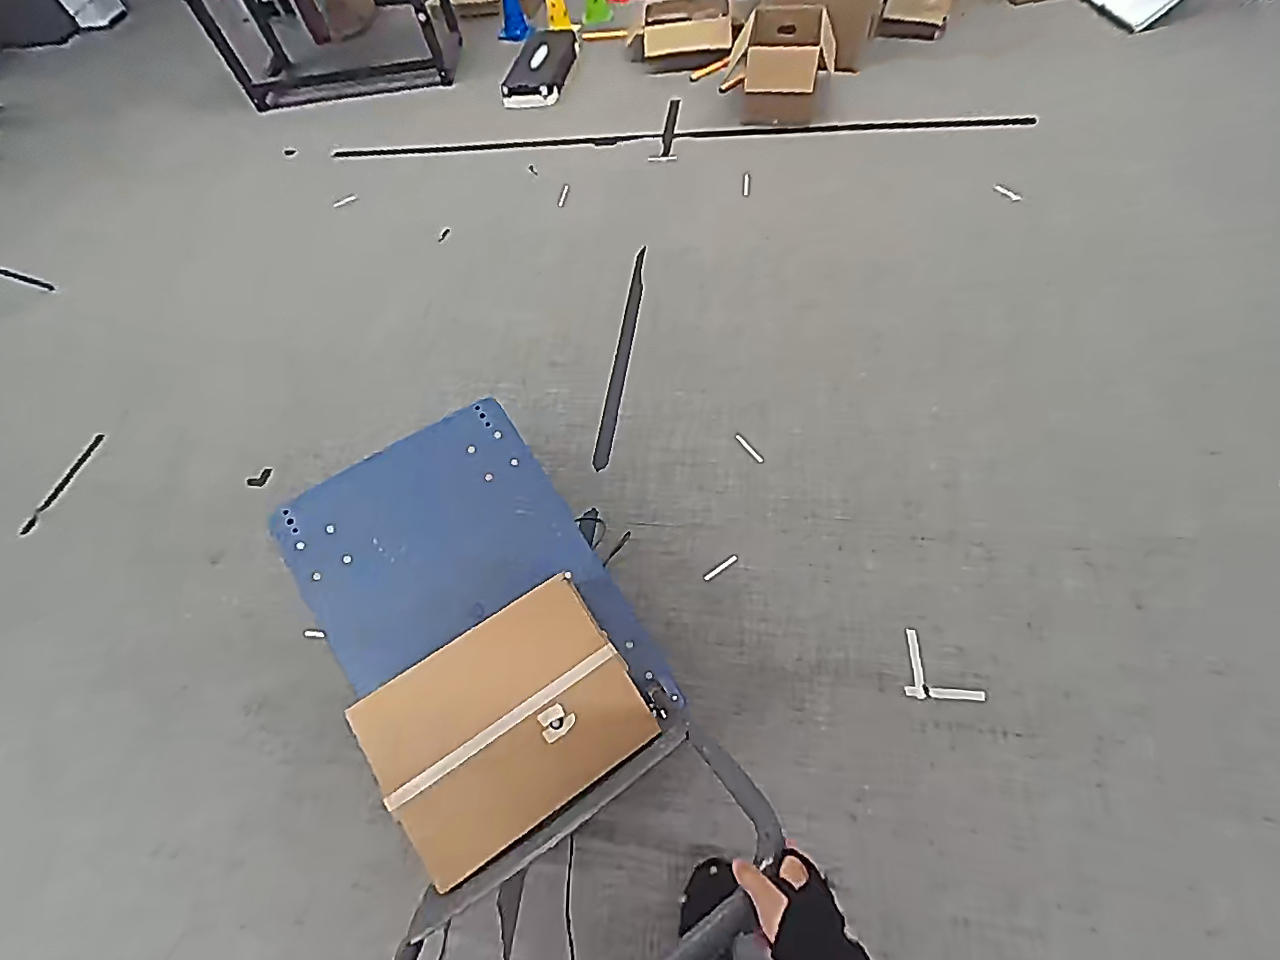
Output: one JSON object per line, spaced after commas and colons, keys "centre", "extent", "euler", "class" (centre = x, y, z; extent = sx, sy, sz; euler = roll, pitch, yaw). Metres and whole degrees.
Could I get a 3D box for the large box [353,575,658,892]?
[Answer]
{"centre": [-0.228, 0.433, 1.019], "extent": [0.408, 0.320, 0.320], "euler": [-32, 81, -14], "class": "large box"}
